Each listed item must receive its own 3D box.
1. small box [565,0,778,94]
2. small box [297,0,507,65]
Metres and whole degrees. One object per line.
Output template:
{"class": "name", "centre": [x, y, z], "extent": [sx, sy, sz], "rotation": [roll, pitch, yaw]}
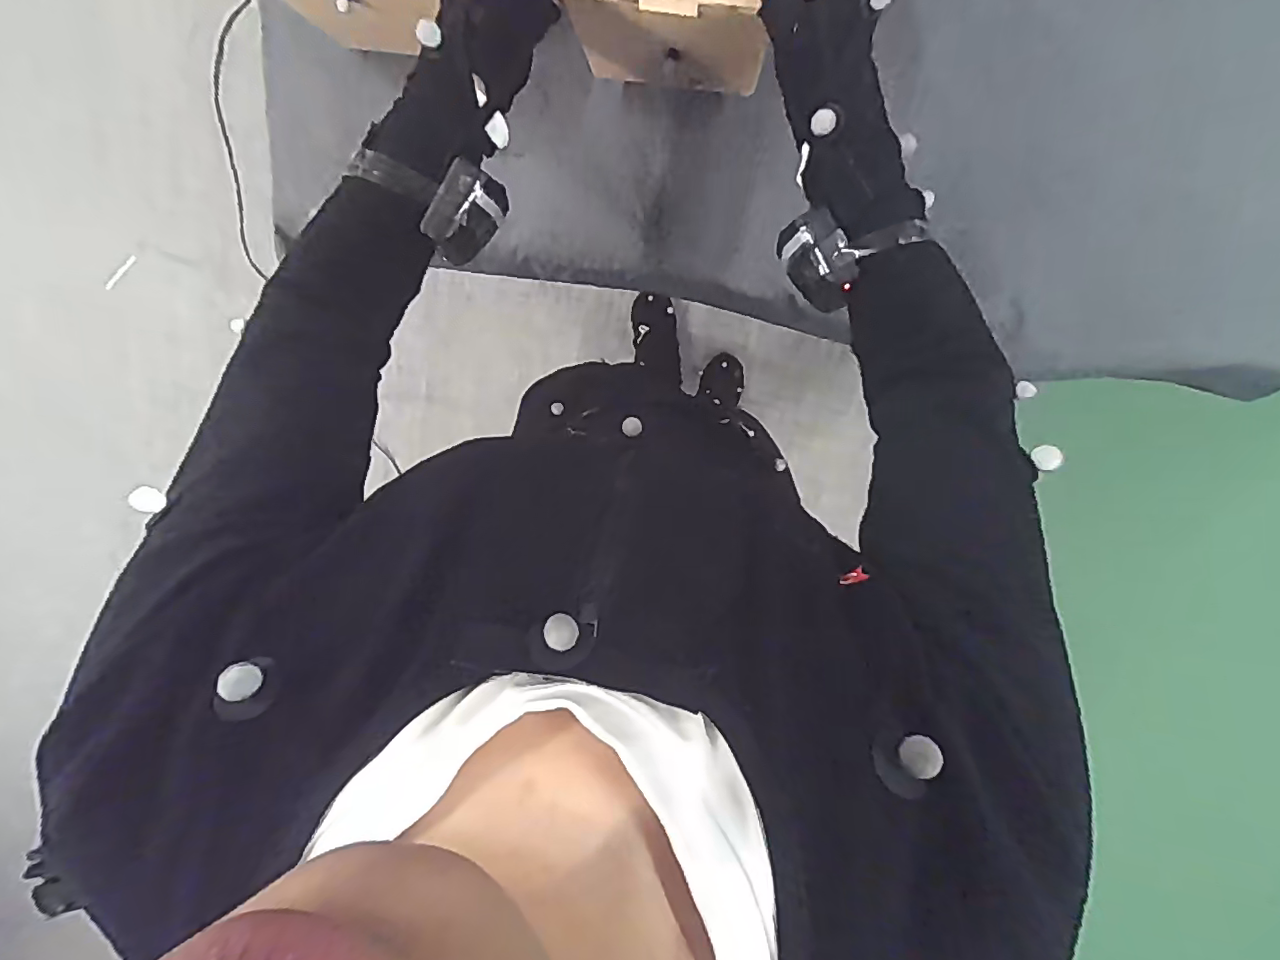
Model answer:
{"class": "small box", "centre": [0.041, -0.457, 0.454], "extent": [0.168, 0.176, 0.179], "rotation": [8, 109, 3]}
{"class": "small box", "centre": [-0.234, -0.517, 0.500], "extent": [0.179, 0.176, 0.168], "rotation": [8, 109, 3]}
